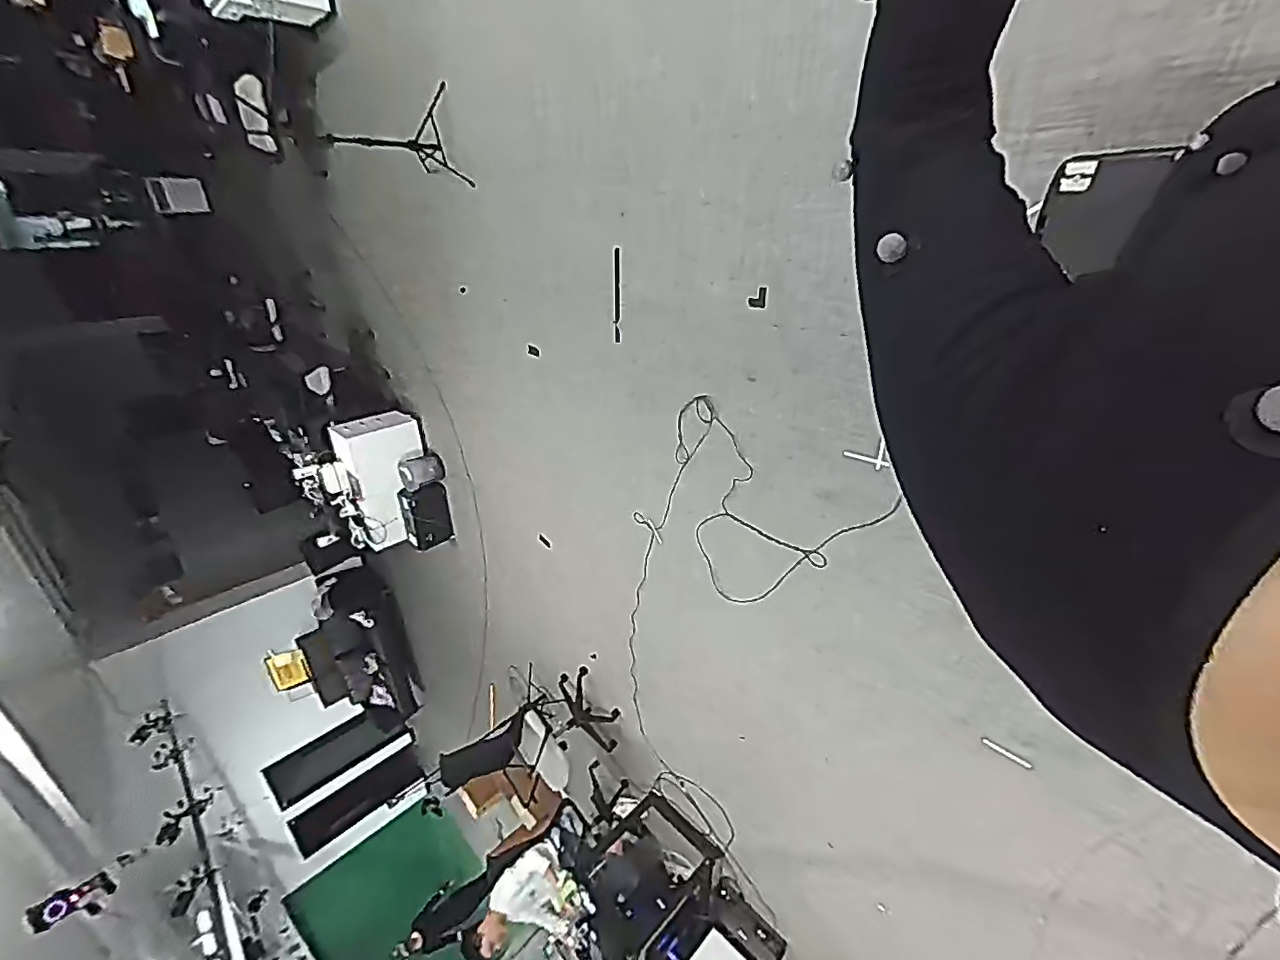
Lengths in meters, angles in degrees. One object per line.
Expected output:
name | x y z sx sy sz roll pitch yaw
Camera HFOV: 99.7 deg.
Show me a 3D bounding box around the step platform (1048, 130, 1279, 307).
step platform | 1.169 -0.471 0.978 0.684 0.204 0.286 21 124 40
